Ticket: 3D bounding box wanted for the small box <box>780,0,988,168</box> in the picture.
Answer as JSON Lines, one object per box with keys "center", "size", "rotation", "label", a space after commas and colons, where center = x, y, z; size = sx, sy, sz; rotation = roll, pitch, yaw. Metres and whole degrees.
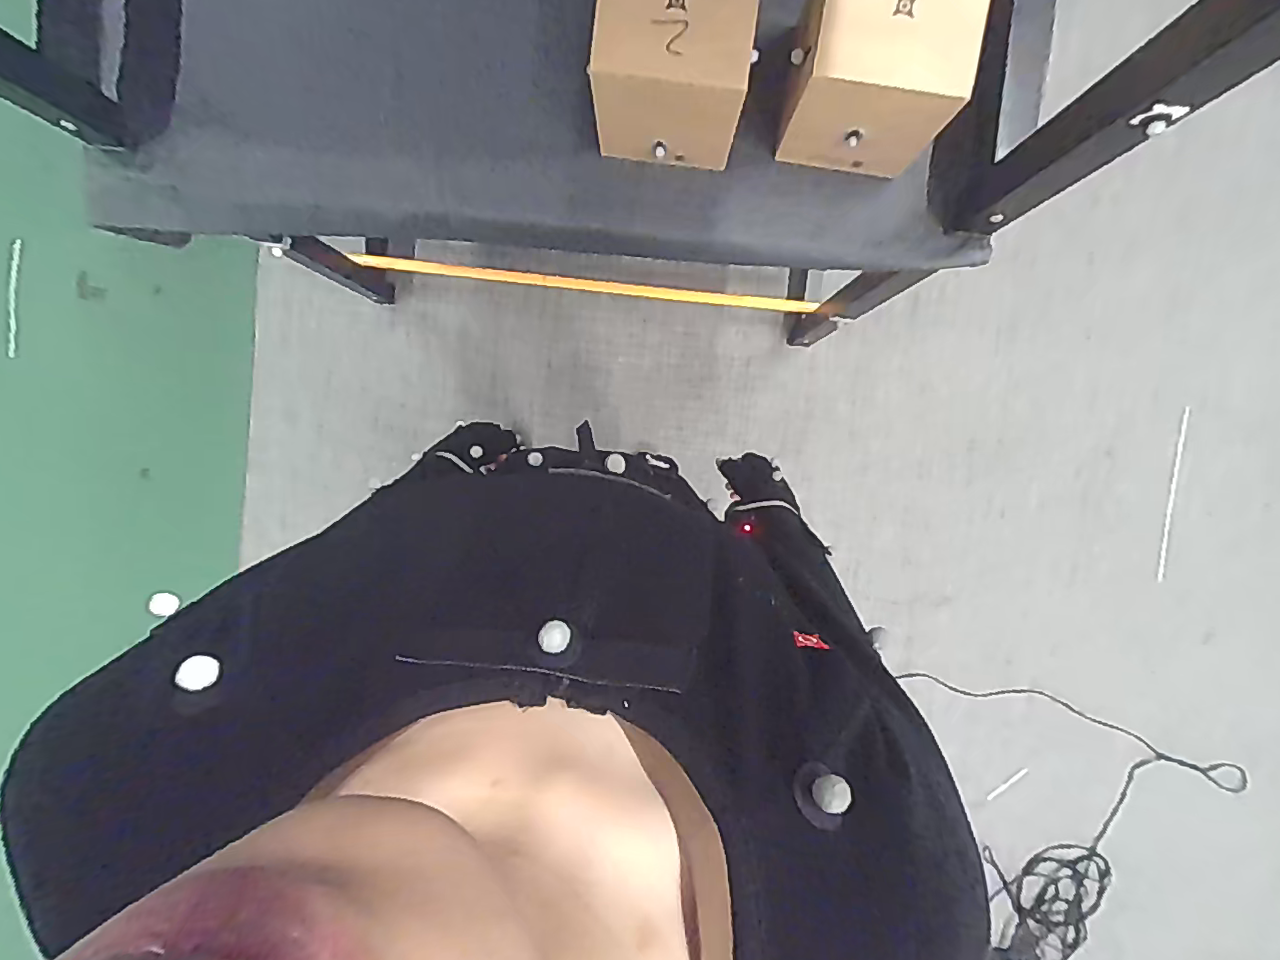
{"center": [0.270, -0.496, 0.625], "size": [0.168, 0.176, 0.179], "rotation": [9, 94, 0], "label": "small box"}
